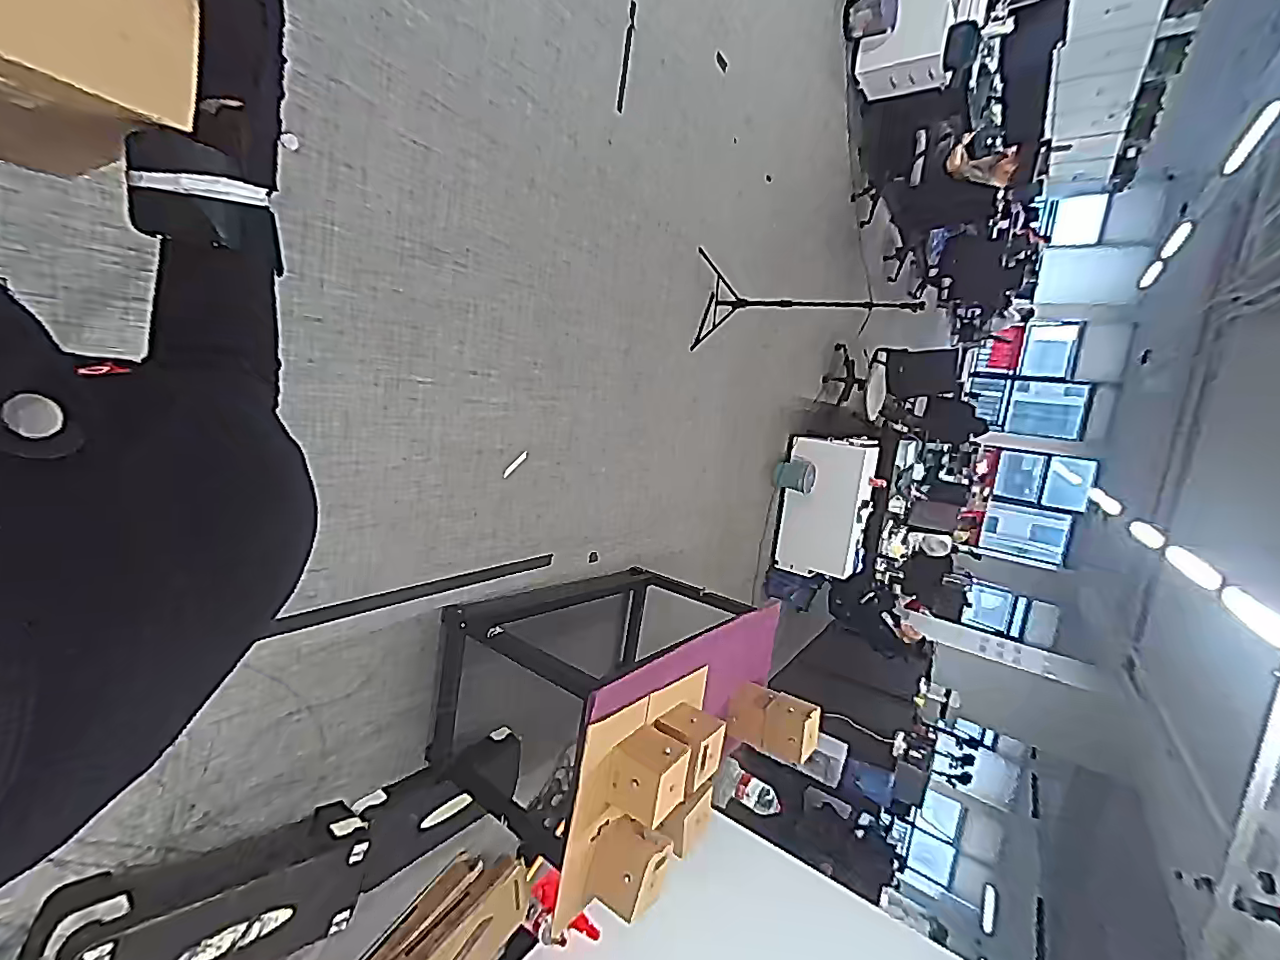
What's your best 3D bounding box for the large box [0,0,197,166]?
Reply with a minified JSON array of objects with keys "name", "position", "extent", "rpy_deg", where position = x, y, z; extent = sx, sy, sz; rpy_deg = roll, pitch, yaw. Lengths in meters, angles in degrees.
[{"name":"large box","position":[-0.509,-0.409,0.255],"extent":[0.408,0.320,0.320],"rpy_deg":[-2,104,-57]}]
